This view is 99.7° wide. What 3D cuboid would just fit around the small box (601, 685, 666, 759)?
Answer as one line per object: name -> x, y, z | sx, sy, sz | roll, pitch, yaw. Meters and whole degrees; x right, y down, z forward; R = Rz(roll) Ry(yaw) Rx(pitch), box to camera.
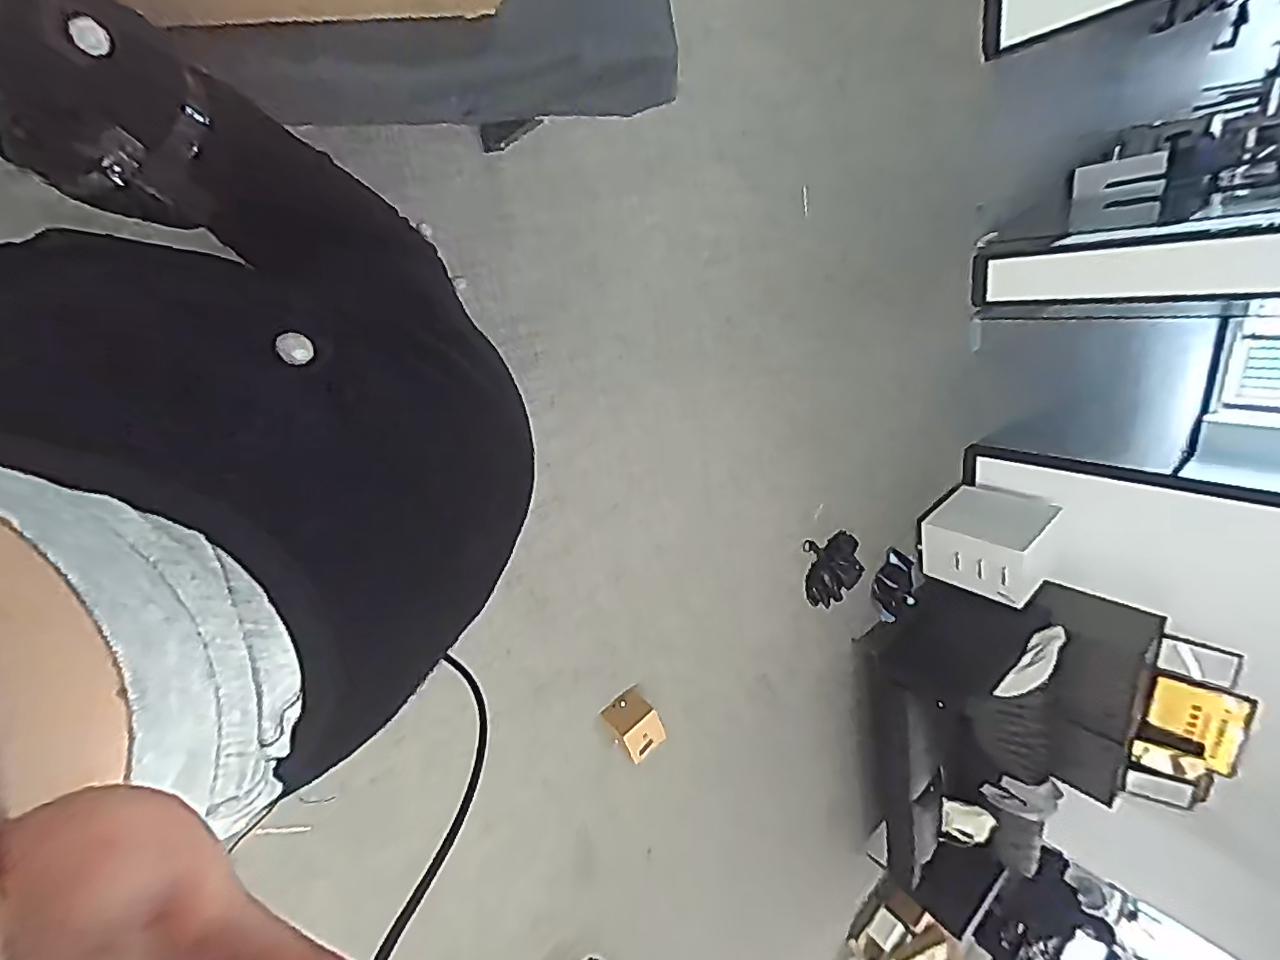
small box -> -0.028, 0.966, 2.172 | 0.168, 0.176, 0.179 | -34, 120, -26
